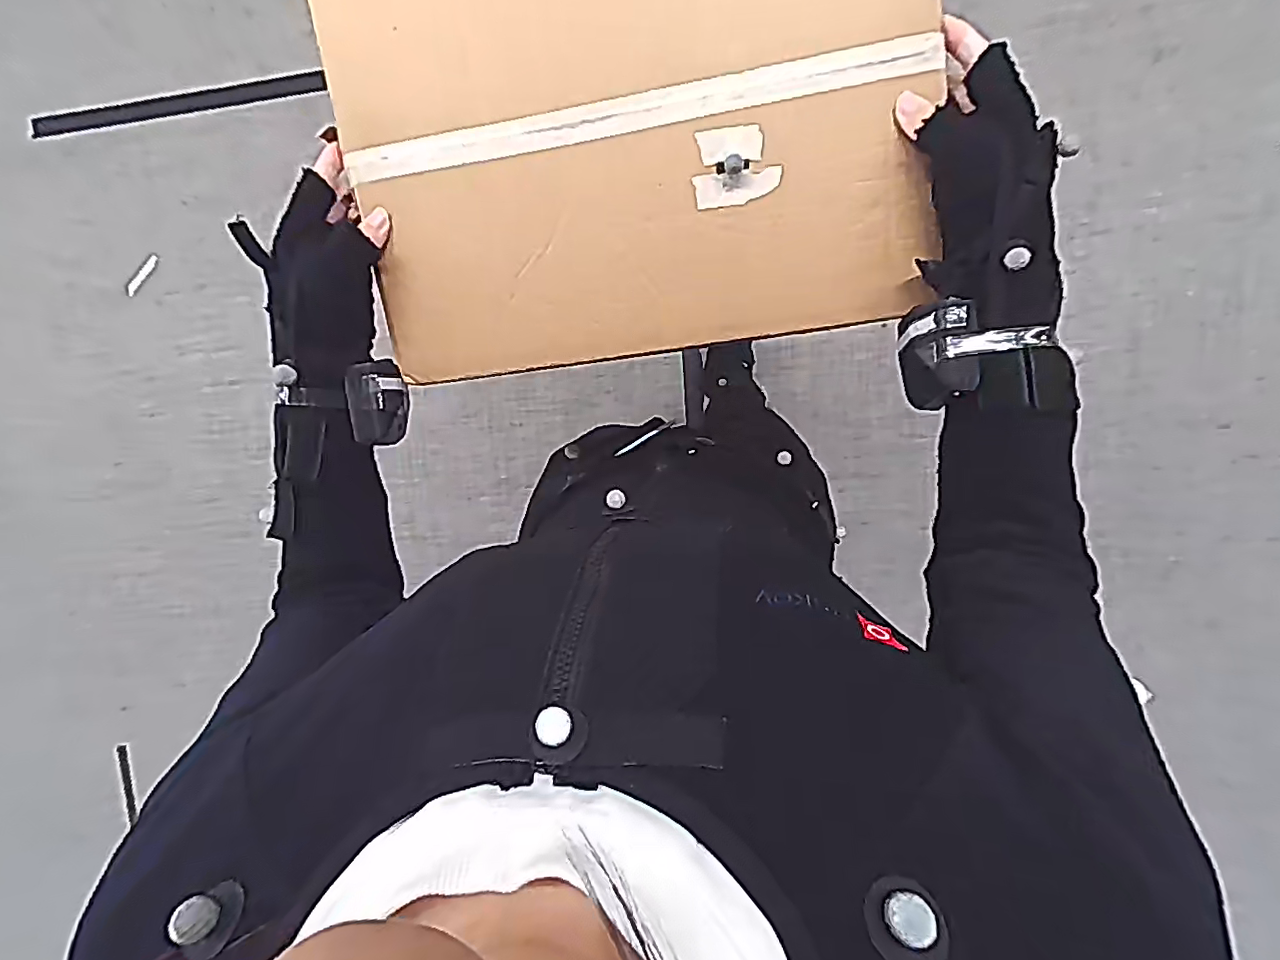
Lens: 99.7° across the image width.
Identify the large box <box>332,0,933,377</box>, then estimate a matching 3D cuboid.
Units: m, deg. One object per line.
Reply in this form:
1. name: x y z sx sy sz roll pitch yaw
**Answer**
1. large box: 0.006 -0.291 0.525 0.408 0.320 0.320 -7 104 7
